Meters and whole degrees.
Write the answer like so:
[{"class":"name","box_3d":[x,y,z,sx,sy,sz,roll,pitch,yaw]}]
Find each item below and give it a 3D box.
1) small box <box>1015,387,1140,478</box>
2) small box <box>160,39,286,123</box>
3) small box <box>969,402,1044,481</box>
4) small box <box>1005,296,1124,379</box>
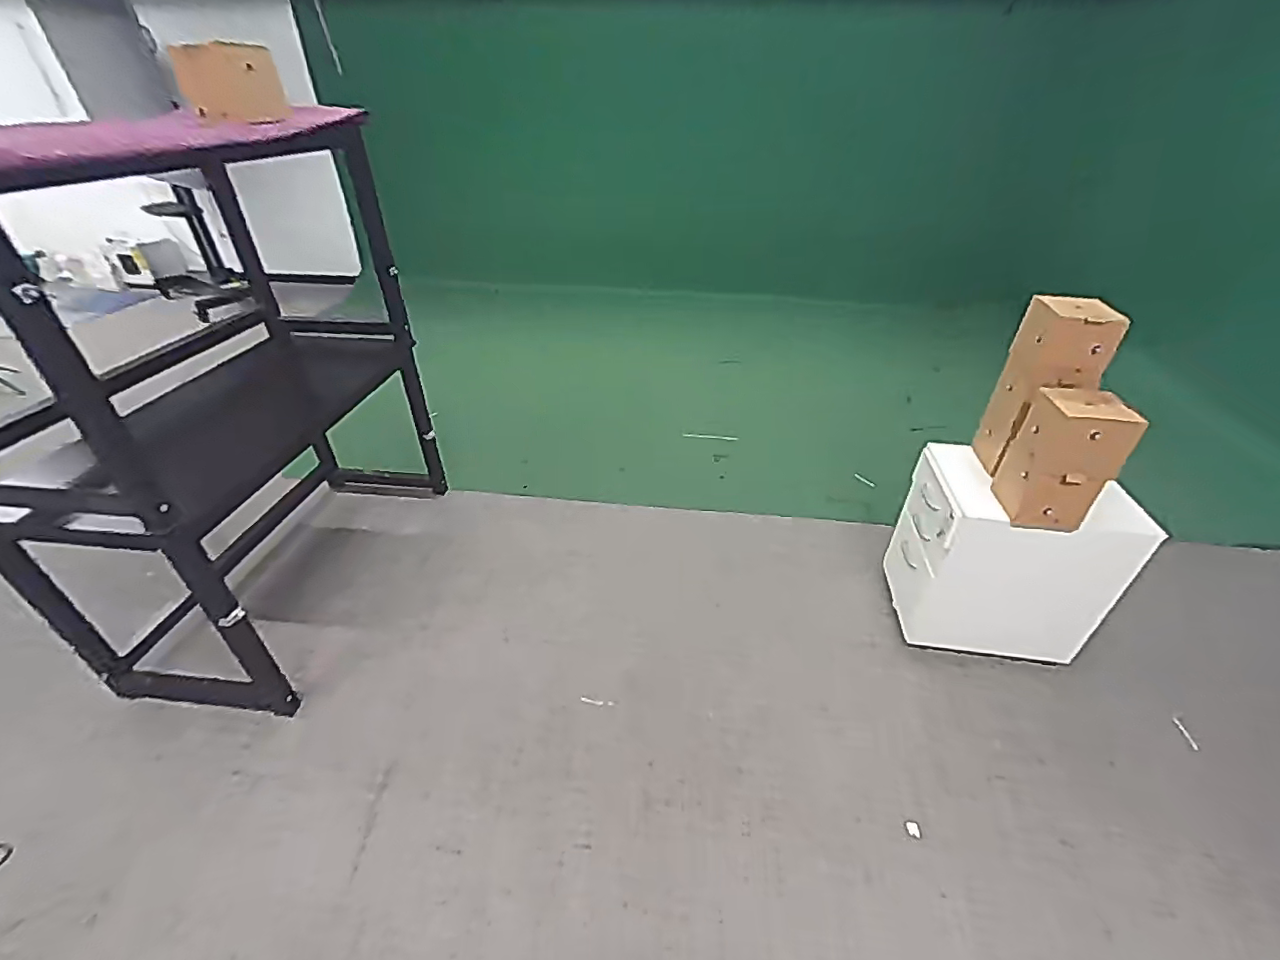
[{"class":"small box","box_3d":[1.099,-0.121,1.382,0.179,0.176,0.168,7,37,7]},{"class":"small box","box_3d":[-1.084,-1.047,1.426,0.168,0.176,0.179,3,36,7]},{"class":"small box","box_3d":[1.148,-0.121,1.663,0.168,0.176,0.179,5,38,6]},{"class":"small box","box_3d":[1.142,-0.388,1.472,0.168,0.176,0.179,7,37,6]}]
